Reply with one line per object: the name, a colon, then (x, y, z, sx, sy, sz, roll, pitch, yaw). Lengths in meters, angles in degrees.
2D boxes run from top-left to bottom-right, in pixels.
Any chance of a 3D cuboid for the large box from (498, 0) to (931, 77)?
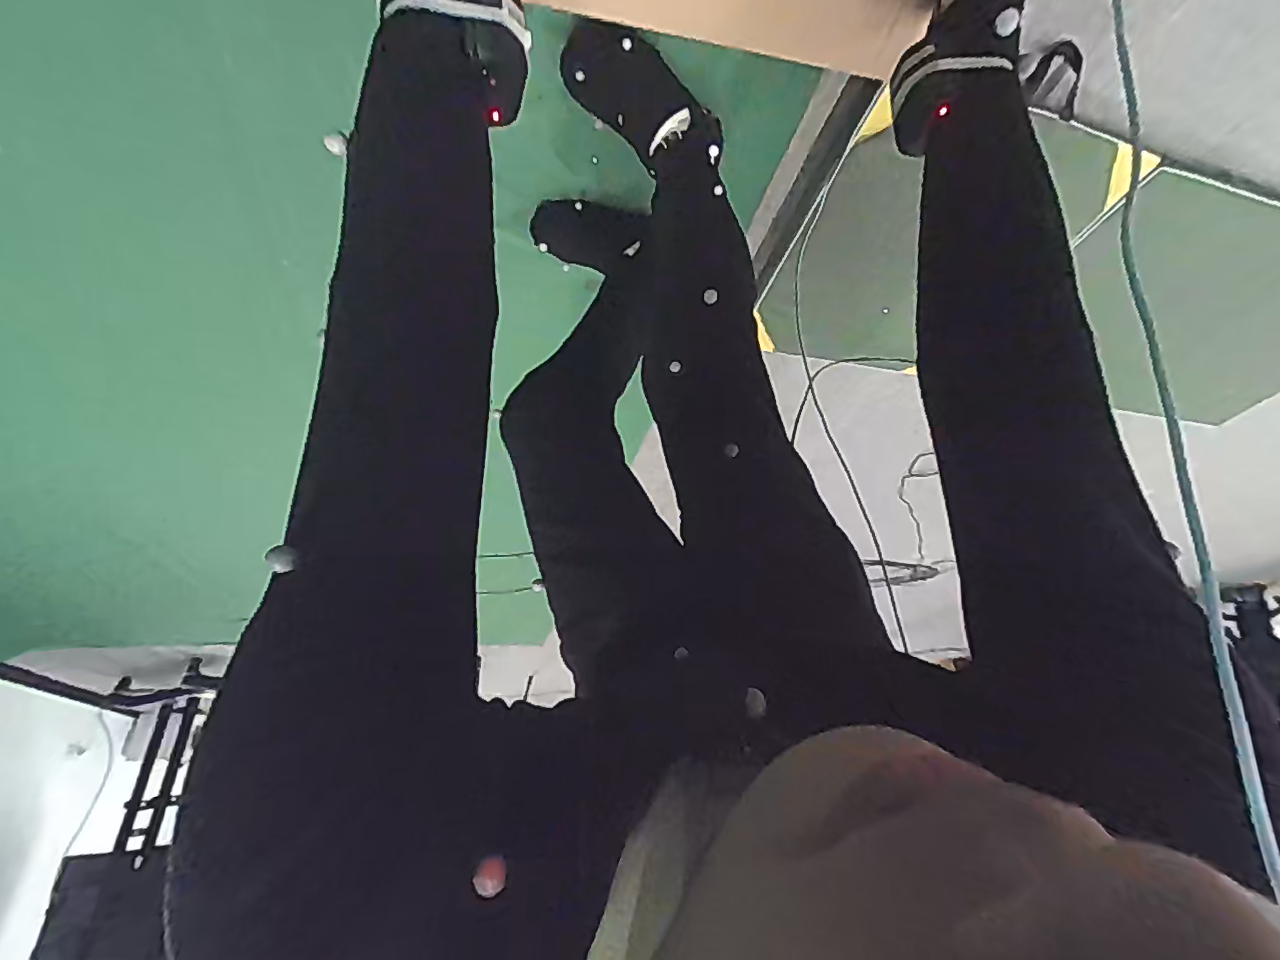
large box: (0.079, -0.621, 0.463, 0.408, 0.320, 0.320, 4, 149, -10)
